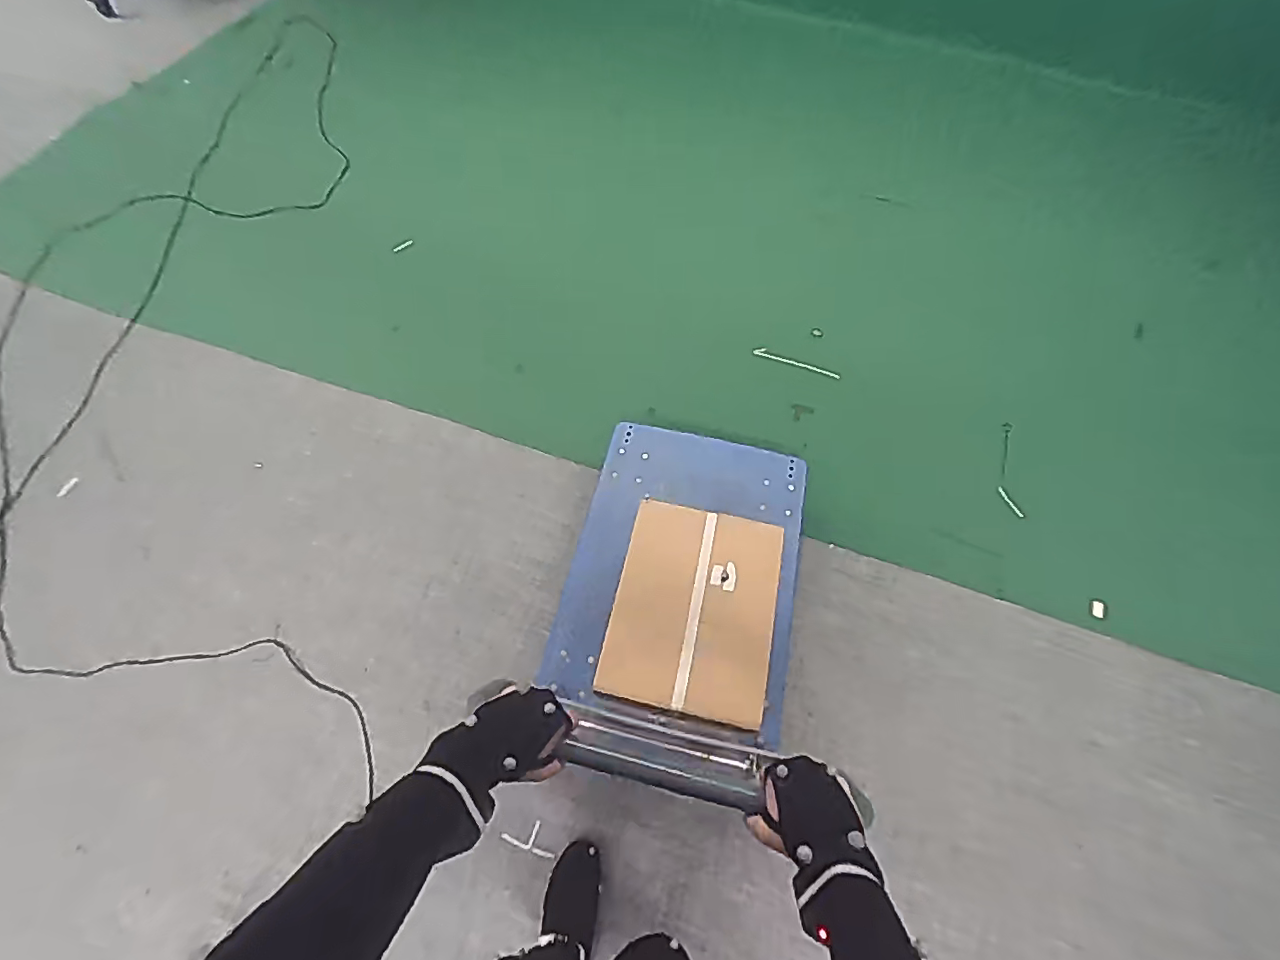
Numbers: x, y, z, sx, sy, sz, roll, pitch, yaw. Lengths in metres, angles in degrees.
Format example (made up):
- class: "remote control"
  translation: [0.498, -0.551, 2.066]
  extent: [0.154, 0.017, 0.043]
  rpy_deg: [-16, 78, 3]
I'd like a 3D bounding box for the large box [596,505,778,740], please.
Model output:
- class: "large box"
  translation: [0.104, 0.324, 1.204]
  extent: [0.320, 0.320, 0.408]
  rpy_deg: [12, 61, 5]
